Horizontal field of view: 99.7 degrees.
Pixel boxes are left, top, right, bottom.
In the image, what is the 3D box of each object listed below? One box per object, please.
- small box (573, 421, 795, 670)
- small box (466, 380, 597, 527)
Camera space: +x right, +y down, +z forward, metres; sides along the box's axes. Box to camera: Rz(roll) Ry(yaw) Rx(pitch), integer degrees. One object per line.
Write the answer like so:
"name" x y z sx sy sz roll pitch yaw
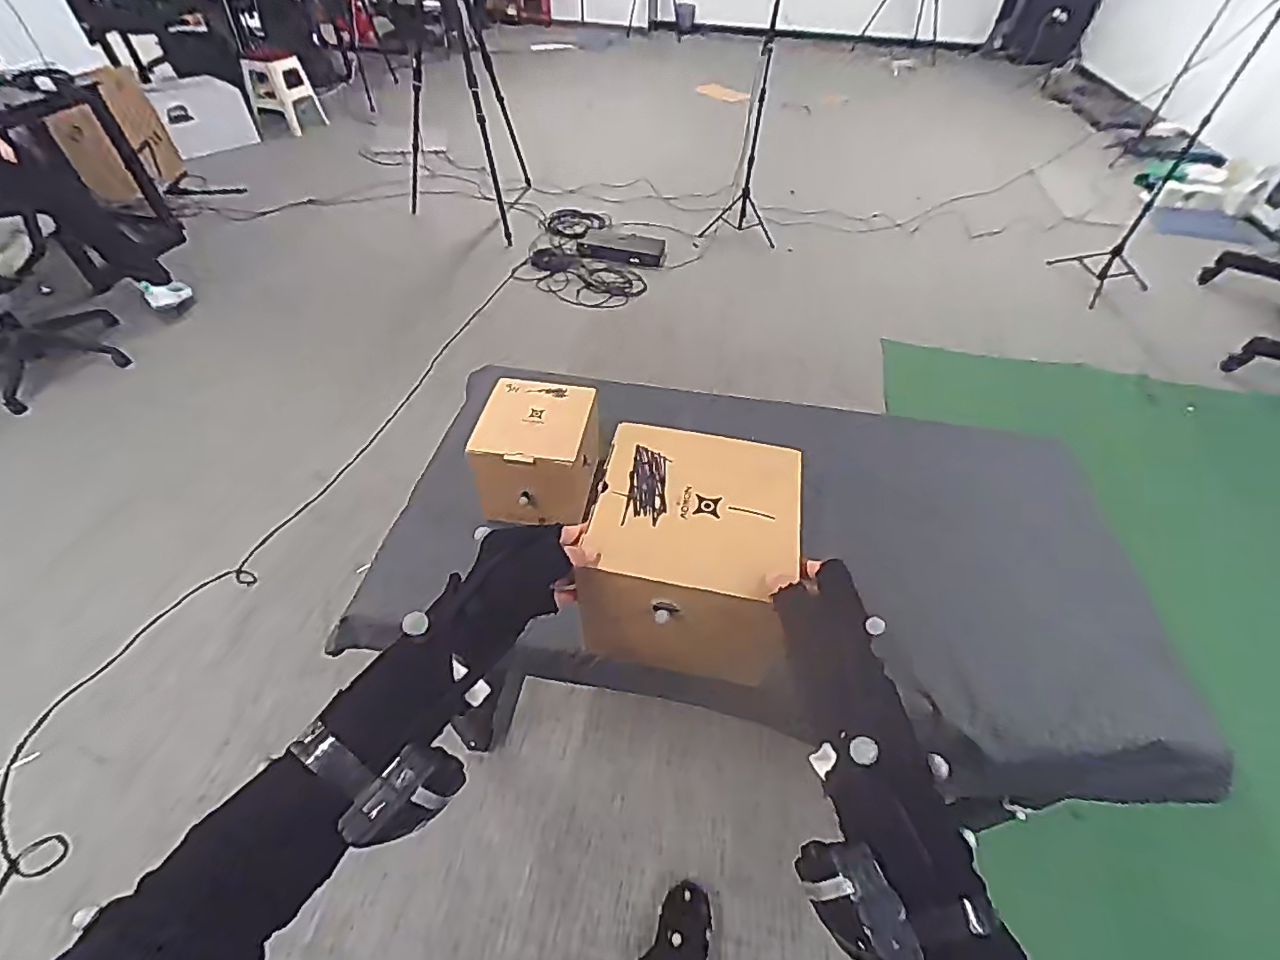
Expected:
"small box" 0.044 0.068 0.532 0.179 0.176 0.168 10 51 6
"small box" -0.168 -0.041 0.906 0.168 0.176 0.179 7 49 4
